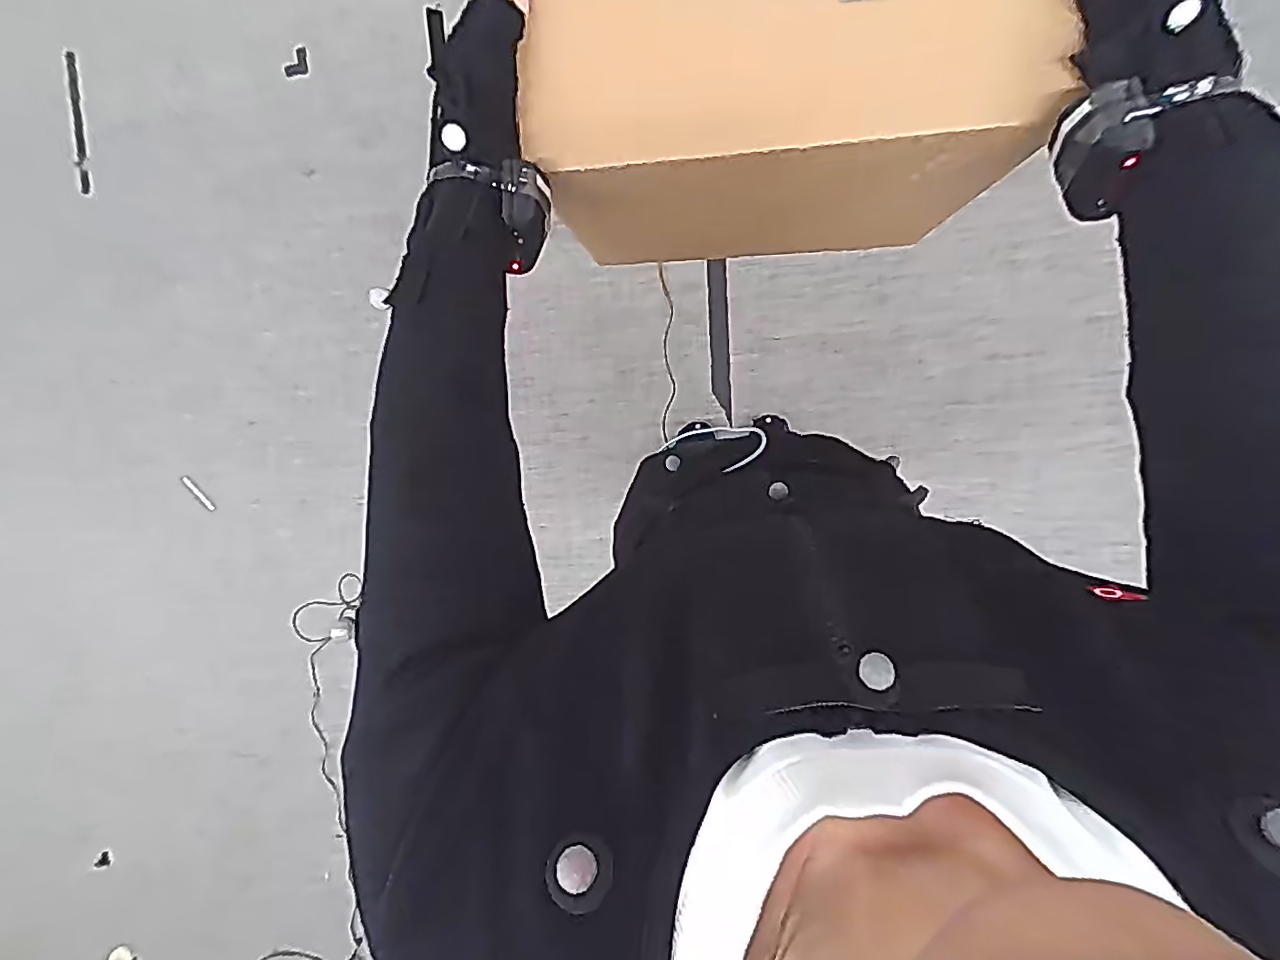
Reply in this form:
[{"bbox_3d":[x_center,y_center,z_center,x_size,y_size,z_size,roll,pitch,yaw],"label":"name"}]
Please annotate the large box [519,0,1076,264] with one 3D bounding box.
[{"bbox_3d":[0.116,-0.425,0.533,0.408,0.320,0.320,-2,99,7],"label":"large box"}]
